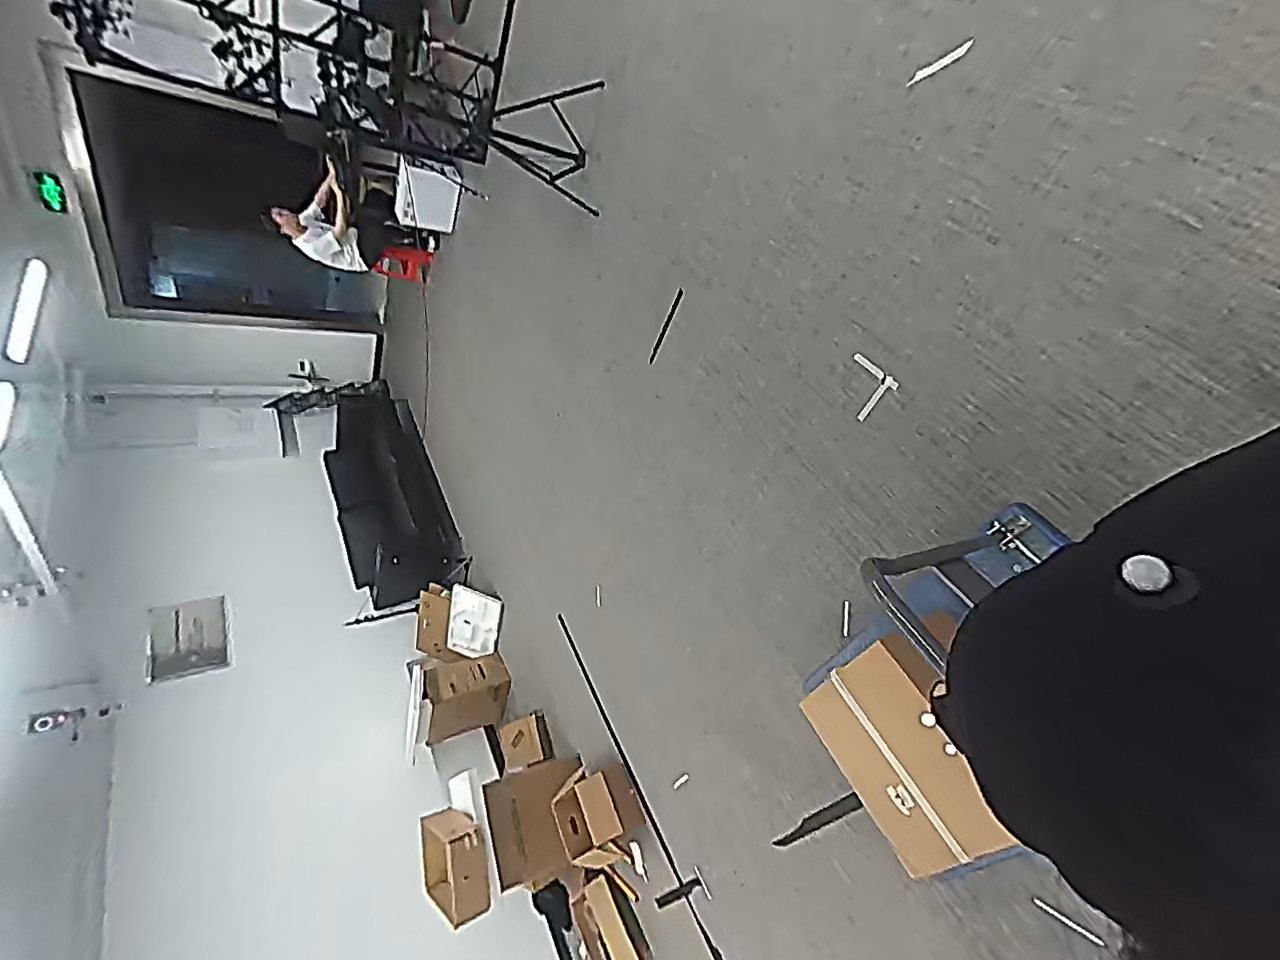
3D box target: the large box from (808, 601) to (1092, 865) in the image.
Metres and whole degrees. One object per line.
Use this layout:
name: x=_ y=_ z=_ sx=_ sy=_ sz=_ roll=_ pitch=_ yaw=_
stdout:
large box: x=0.682 y=0.551 z=1.234 sx=0.408 sy=0.320 sz=0.320 roll=57 pitch=137 yaw=31
